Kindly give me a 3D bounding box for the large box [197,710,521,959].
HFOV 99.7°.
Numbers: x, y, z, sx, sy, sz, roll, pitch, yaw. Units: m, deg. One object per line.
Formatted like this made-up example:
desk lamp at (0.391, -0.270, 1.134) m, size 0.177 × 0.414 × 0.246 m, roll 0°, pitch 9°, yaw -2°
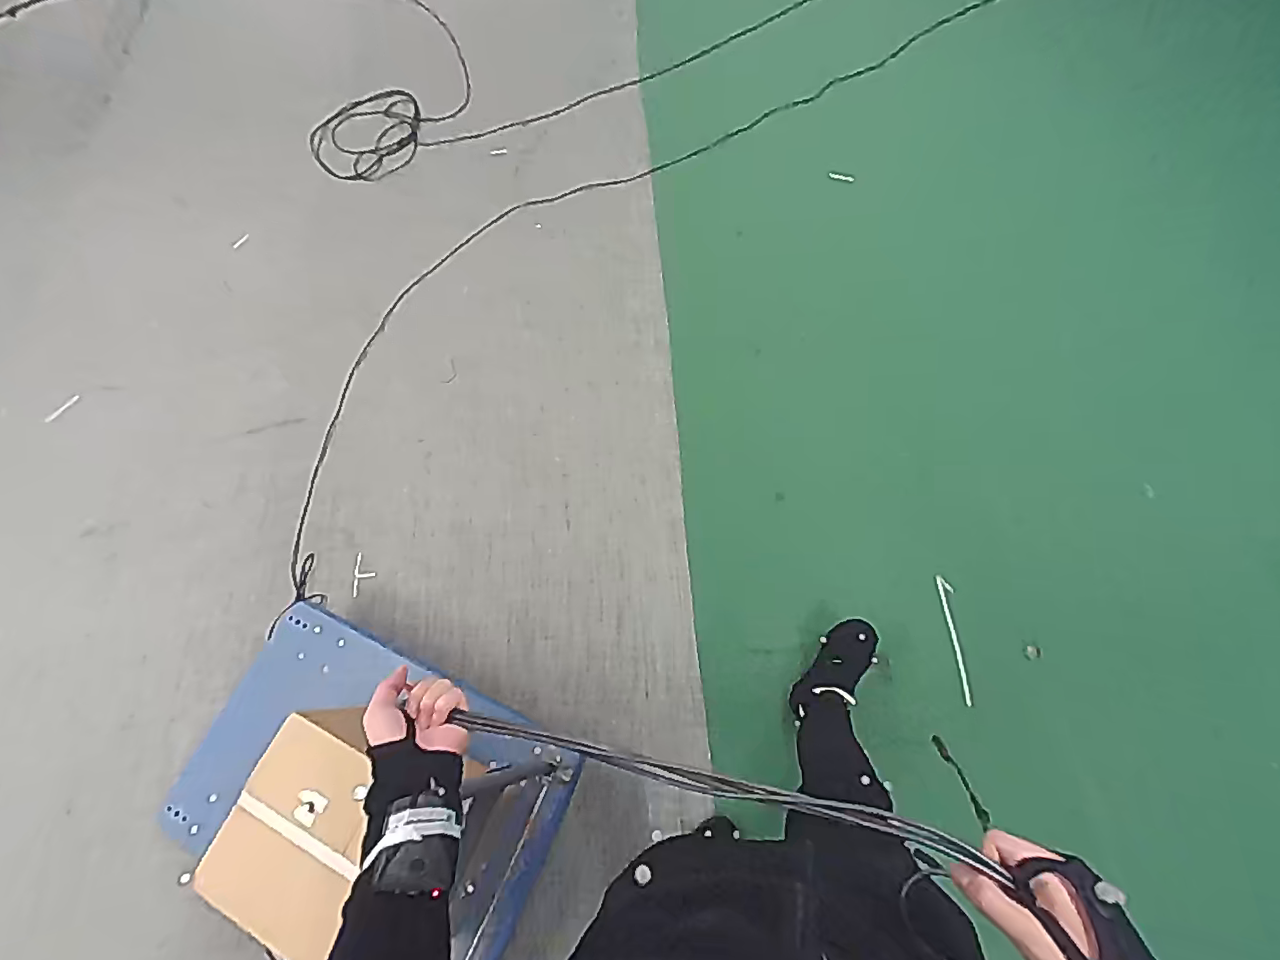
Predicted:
large box at (-0.514, 0.694, 1.070) m, size 0.408 × 0.320 × 0.320 m, roll 21°, pitch 72°, yaw 15°
